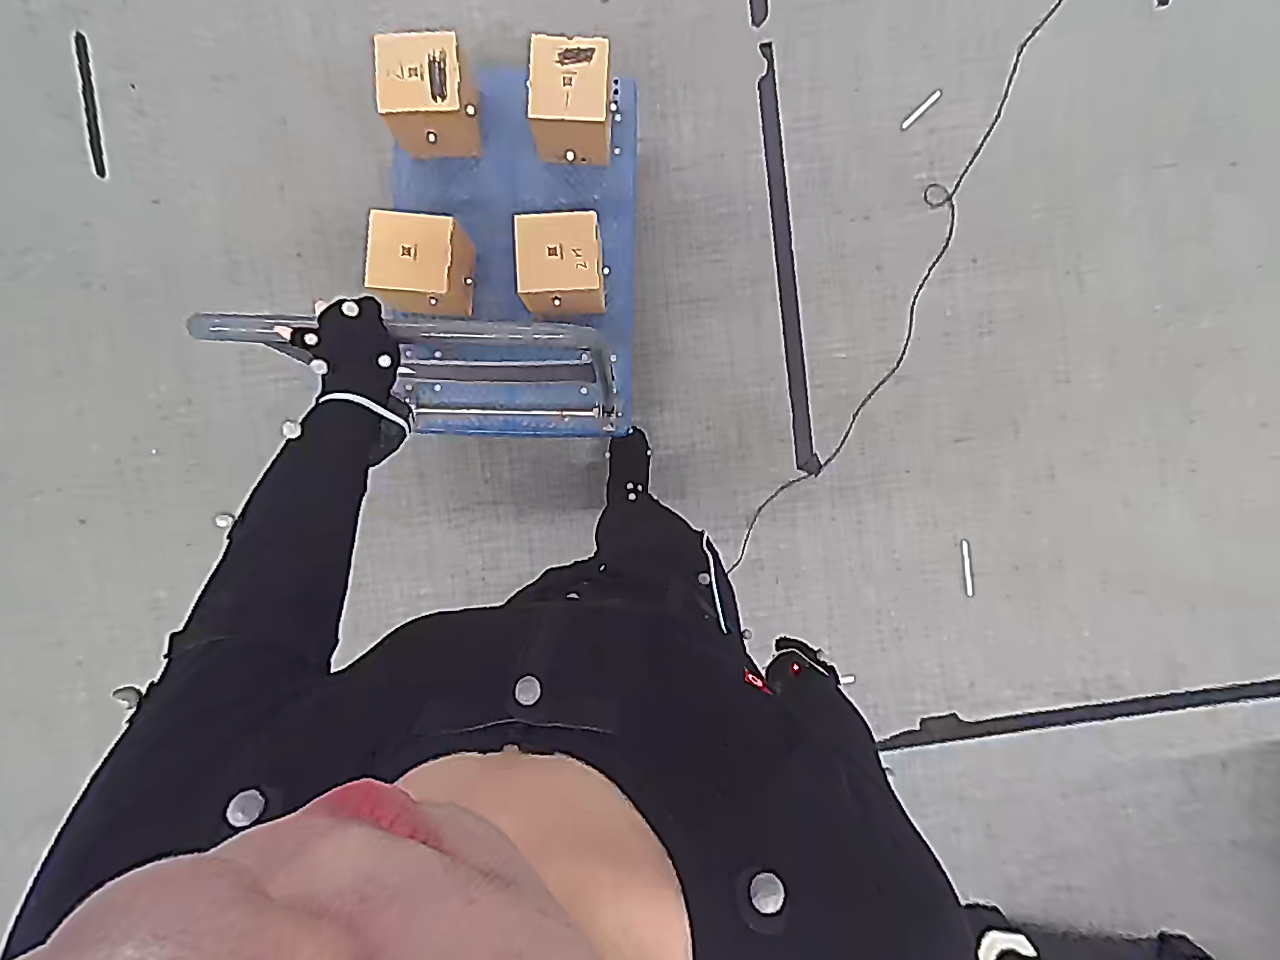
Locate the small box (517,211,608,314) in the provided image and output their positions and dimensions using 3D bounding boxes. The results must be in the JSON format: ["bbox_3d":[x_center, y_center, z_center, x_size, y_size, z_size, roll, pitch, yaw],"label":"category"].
[{"bbox_3d":[-0.168,-0.479,1.212,0.179,0.176,0.168,-2,91,0],"label":"small box"}]

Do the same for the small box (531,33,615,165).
[{"bbox_3d":[-0.144,-0.843,1.210,0.168,0.176,0.179,3,92,0],"label":"small box"}]

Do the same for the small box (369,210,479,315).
[{"bbox_3d":[-0.478,-0.479,1.213,0.179,0.176,0.168,4,90,-2],"label":"small box"}]
